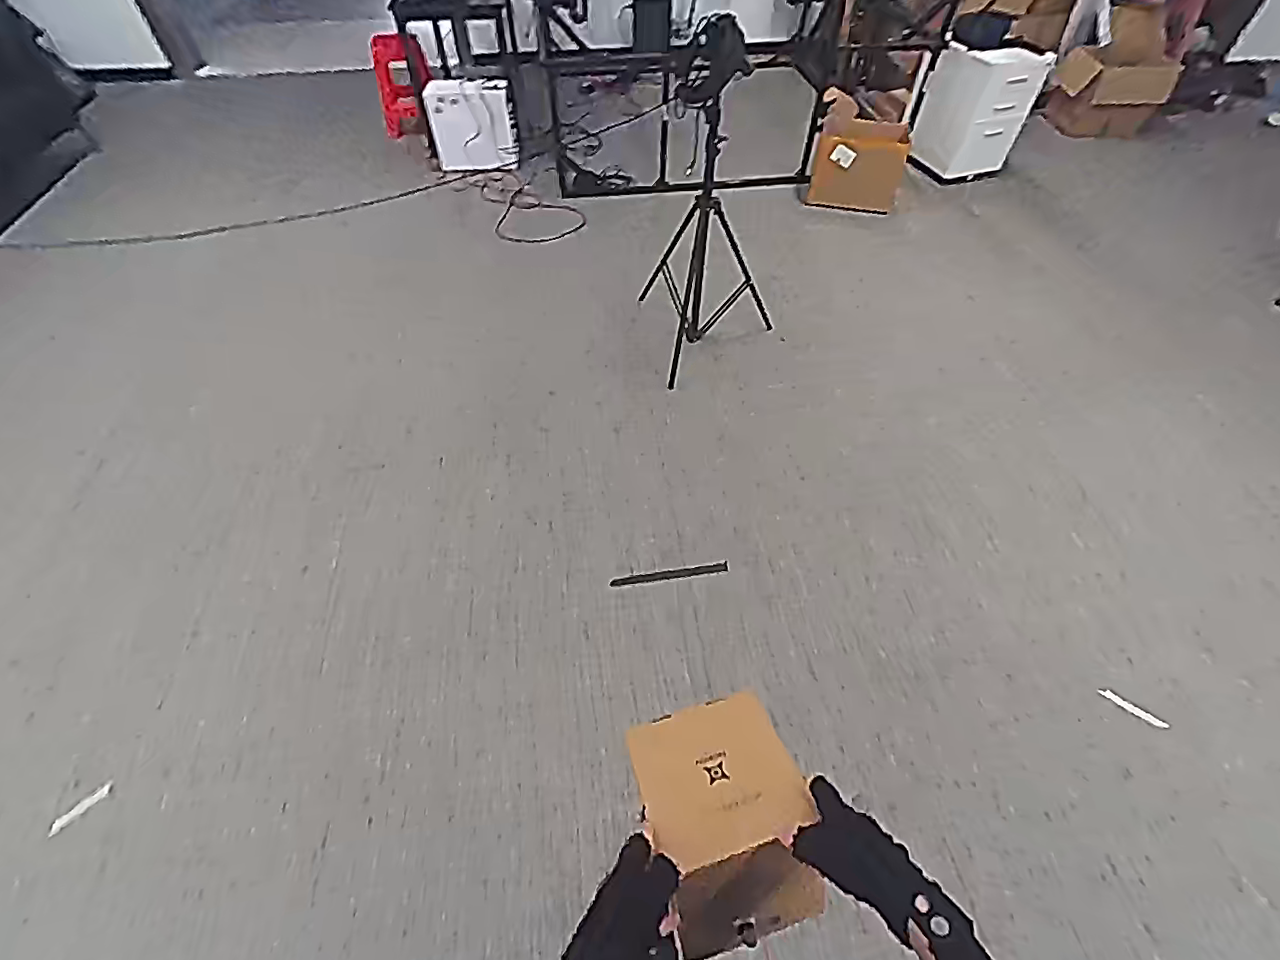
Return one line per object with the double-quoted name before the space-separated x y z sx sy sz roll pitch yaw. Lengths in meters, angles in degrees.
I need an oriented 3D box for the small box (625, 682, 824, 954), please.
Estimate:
"small box" 0.090 0.372 0.615 0.168 0.176 0.179 -15 26 -10
